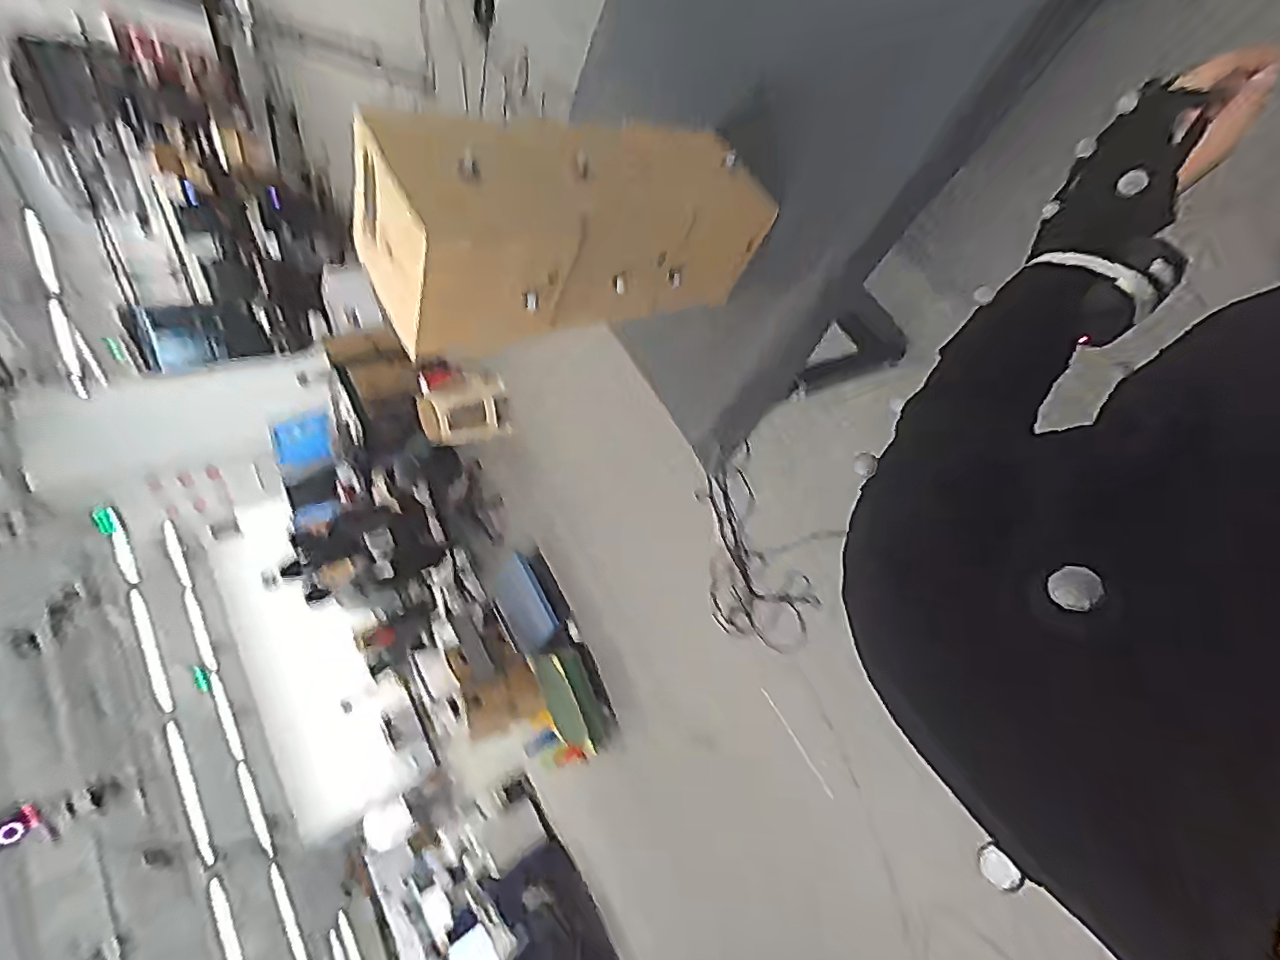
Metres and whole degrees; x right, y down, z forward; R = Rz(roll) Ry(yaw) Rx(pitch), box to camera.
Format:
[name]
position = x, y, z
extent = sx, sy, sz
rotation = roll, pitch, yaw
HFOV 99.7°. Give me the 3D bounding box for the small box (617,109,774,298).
[small box]
position = 0.052, -0.385, 0.773
extent = 0.179, 0.176, 0.168
rotation = 58, 143, 18
